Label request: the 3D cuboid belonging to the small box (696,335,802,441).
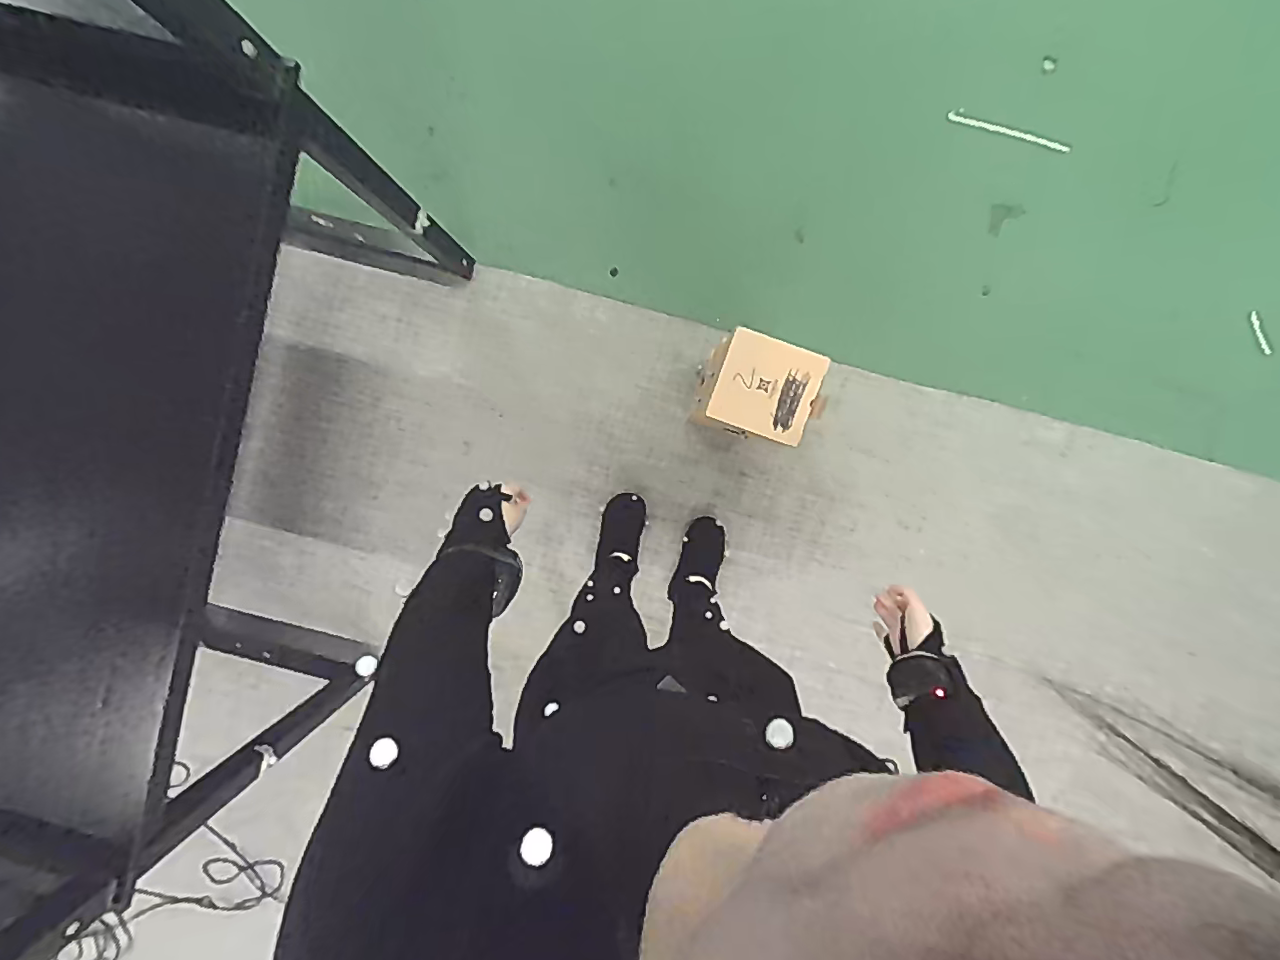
[{"bbox_3d":[0.224,-0.190,1.165,0.168,0.176,0.179,17,94,-1],"label":"small box"}]
